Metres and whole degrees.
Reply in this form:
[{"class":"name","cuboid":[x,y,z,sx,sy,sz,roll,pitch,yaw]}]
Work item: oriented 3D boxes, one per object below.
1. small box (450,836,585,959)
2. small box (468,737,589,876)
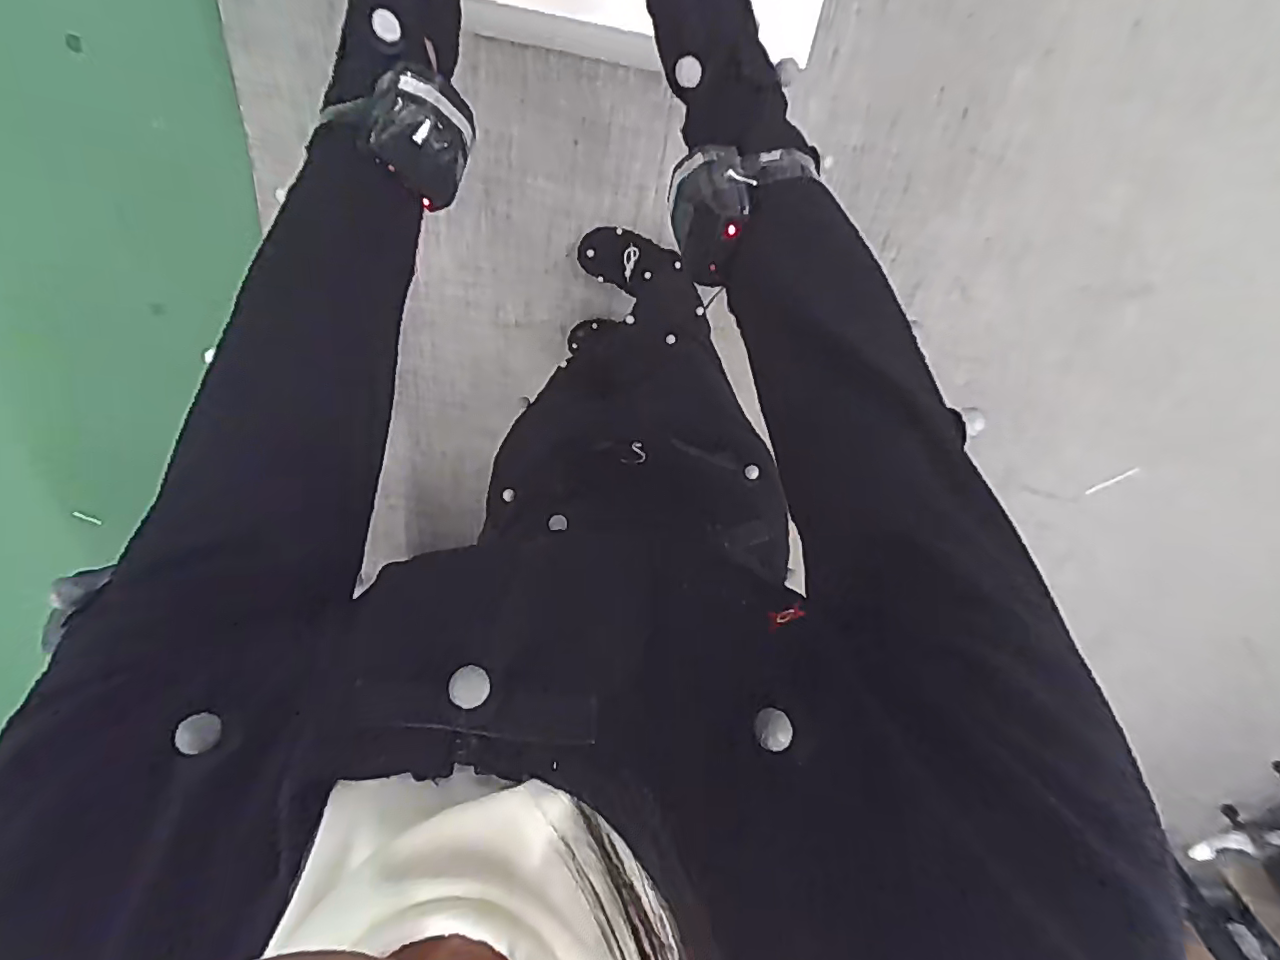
[{"class":"small box","cuboid":[-0.178,0.672,0.817,0.168,0.176,0.179,8,126,-3]},{"class":"small box","cuboid":[-0.191,0.579,0.953,0.179,0.176,0.168,11,124,-6]}]
